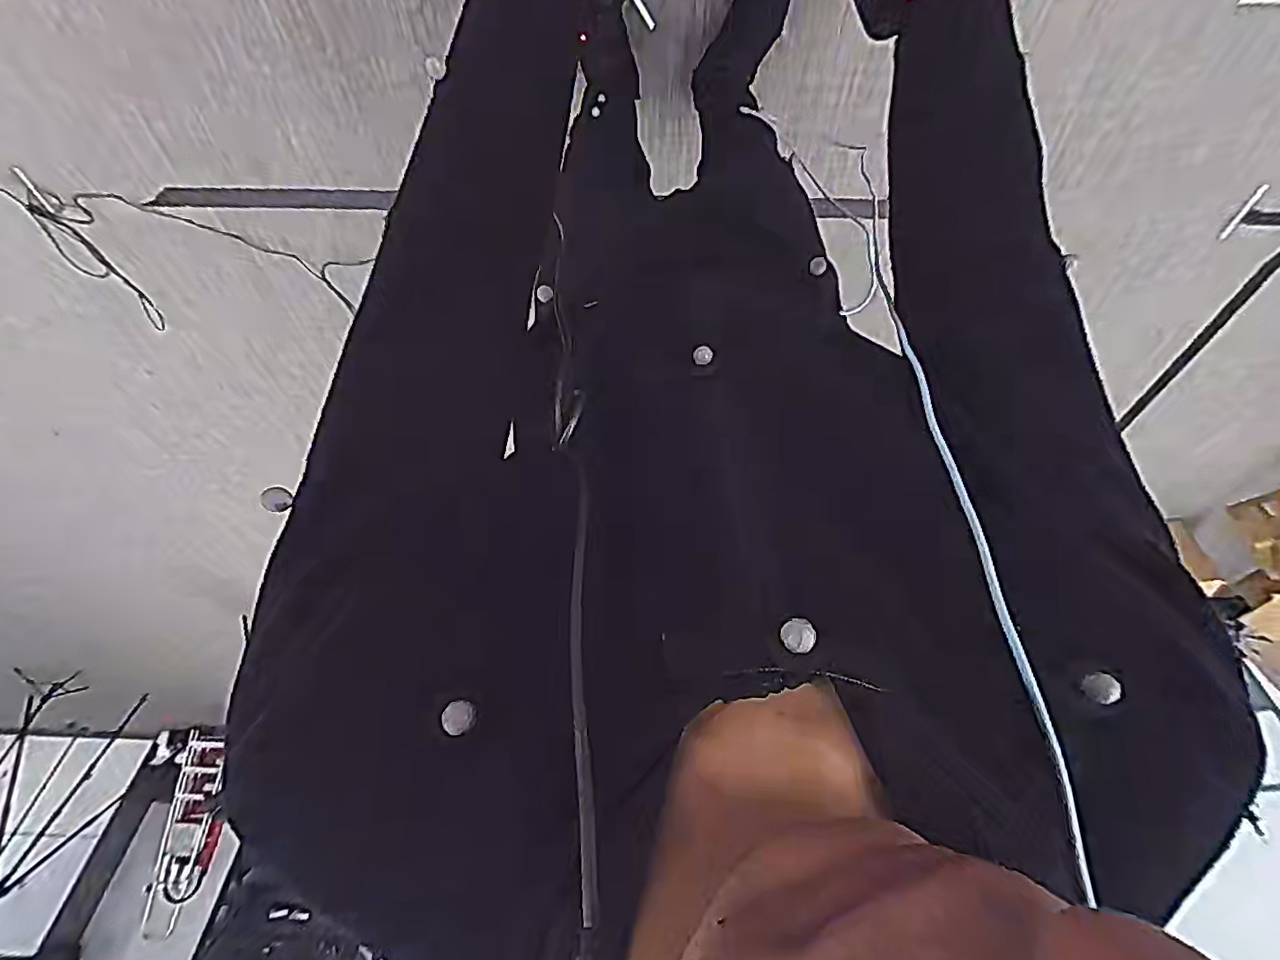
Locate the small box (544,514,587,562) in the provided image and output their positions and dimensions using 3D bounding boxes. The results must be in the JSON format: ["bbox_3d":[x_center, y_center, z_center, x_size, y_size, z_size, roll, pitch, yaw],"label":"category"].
[{"bbox_3d":[-0.341,0.271,2.525,0.179,0.176,0.168,0,141,3],"label":"small box"}]
